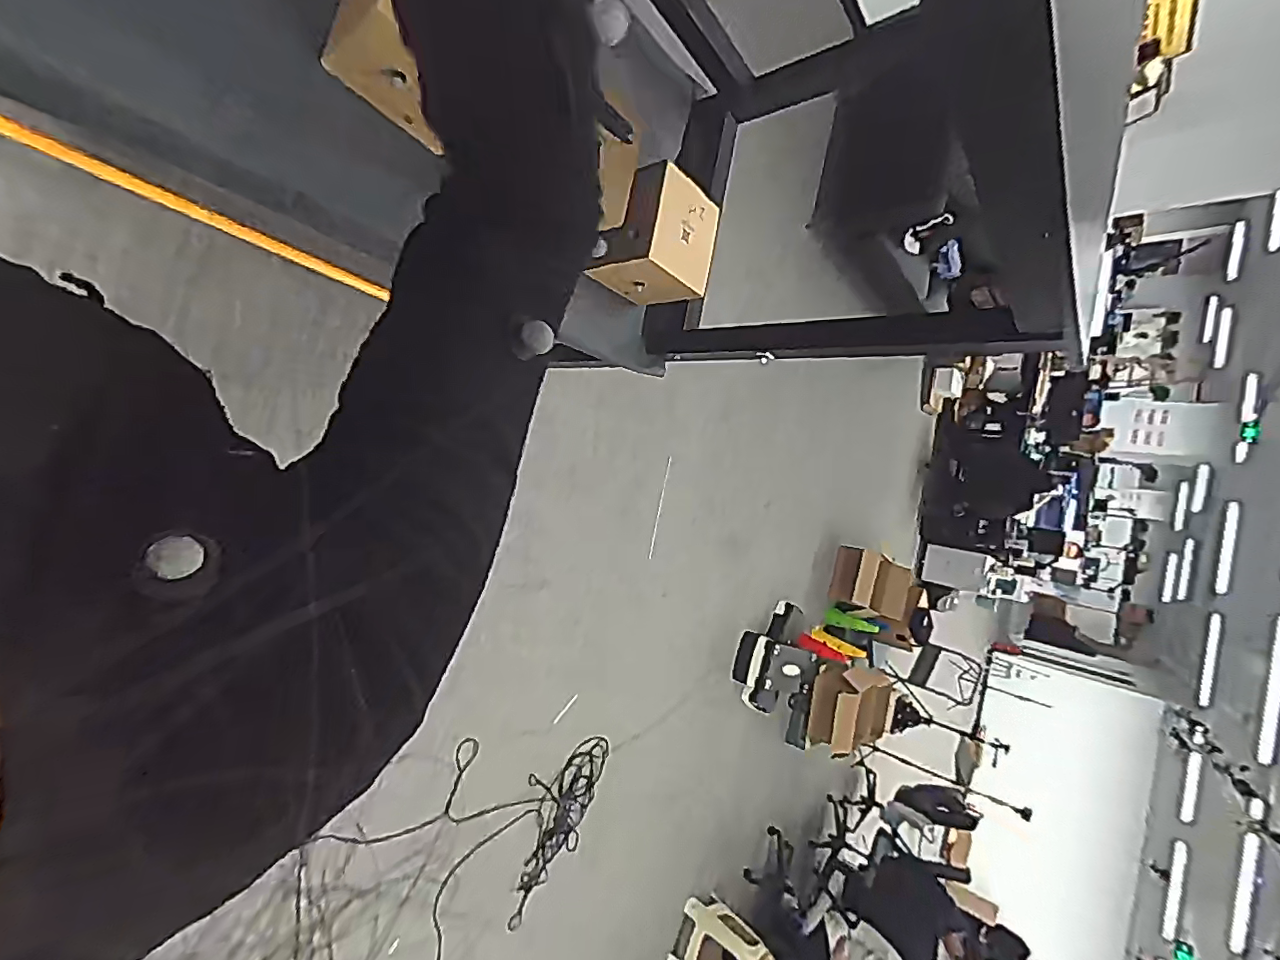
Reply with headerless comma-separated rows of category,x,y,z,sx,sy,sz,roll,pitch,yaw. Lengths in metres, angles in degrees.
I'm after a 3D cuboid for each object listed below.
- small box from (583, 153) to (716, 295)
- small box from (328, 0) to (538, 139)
small box,0.015,-0.463,1.012,0.168,0.176,0.179,12,88,-50
small box,-0.261,-0.573,0.676,0.168,0.176,0.179,21,82,-49
